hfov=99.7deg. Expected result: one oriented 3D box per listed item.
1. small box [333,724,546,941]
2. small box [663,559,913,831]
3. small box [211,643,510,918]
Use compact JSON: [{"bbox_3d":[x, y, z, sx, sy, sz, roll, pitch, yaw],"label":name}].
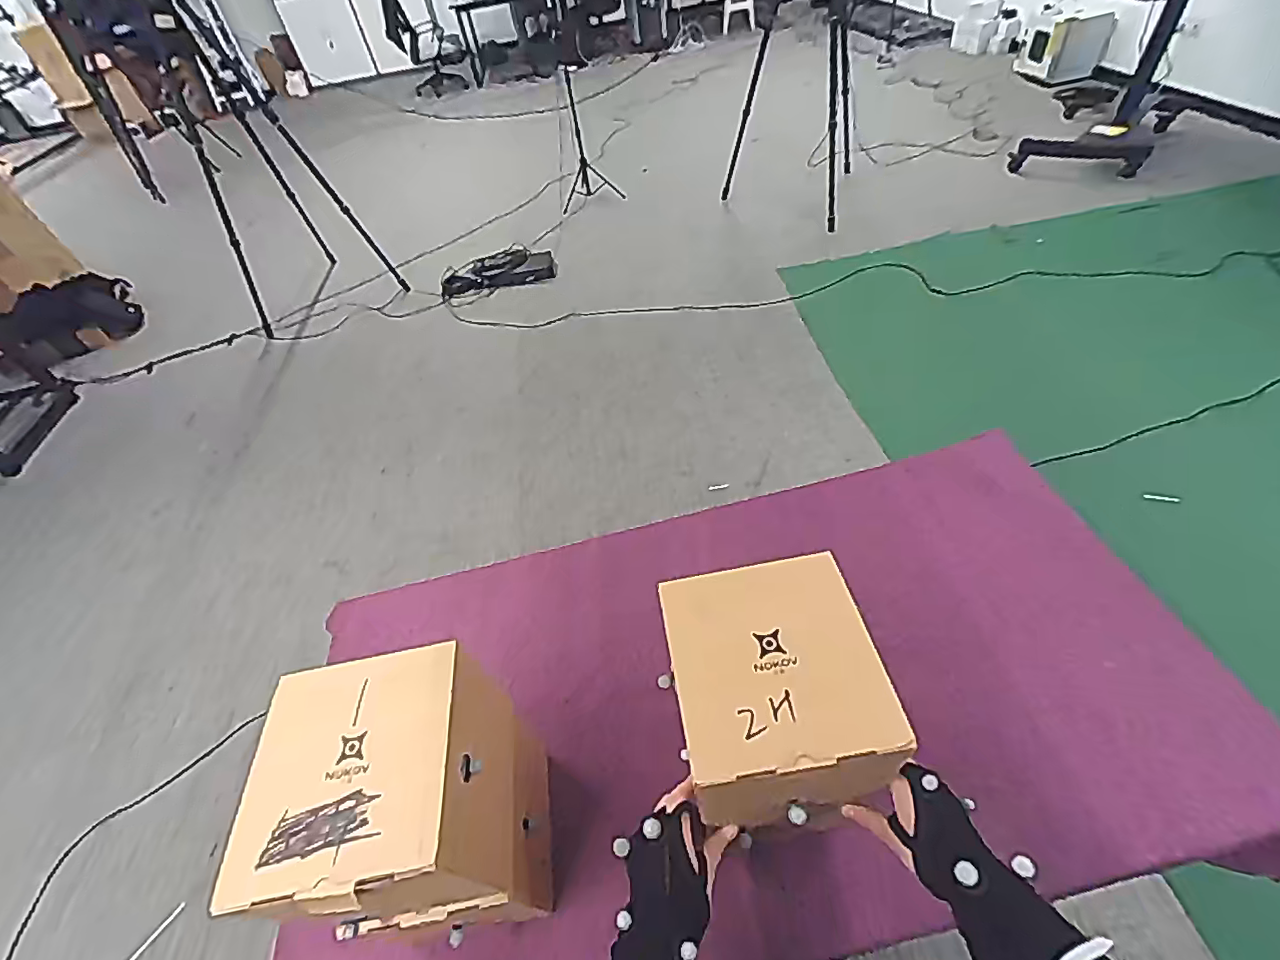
[{"bbox_3d":[-0.206,0.393,0.611,0.168,0.176,0.179,-11,49,-1],"label":"small box"},{"bbox_3d":[0.118,0.202,0.505,0.168,0.176,0.179,-10,48,1],"label":"small box"},{"bbox_3d":[-0.224,0.278,0.493,0.168,0.176,0.179,-11,47,0],"label":"small box"}]
